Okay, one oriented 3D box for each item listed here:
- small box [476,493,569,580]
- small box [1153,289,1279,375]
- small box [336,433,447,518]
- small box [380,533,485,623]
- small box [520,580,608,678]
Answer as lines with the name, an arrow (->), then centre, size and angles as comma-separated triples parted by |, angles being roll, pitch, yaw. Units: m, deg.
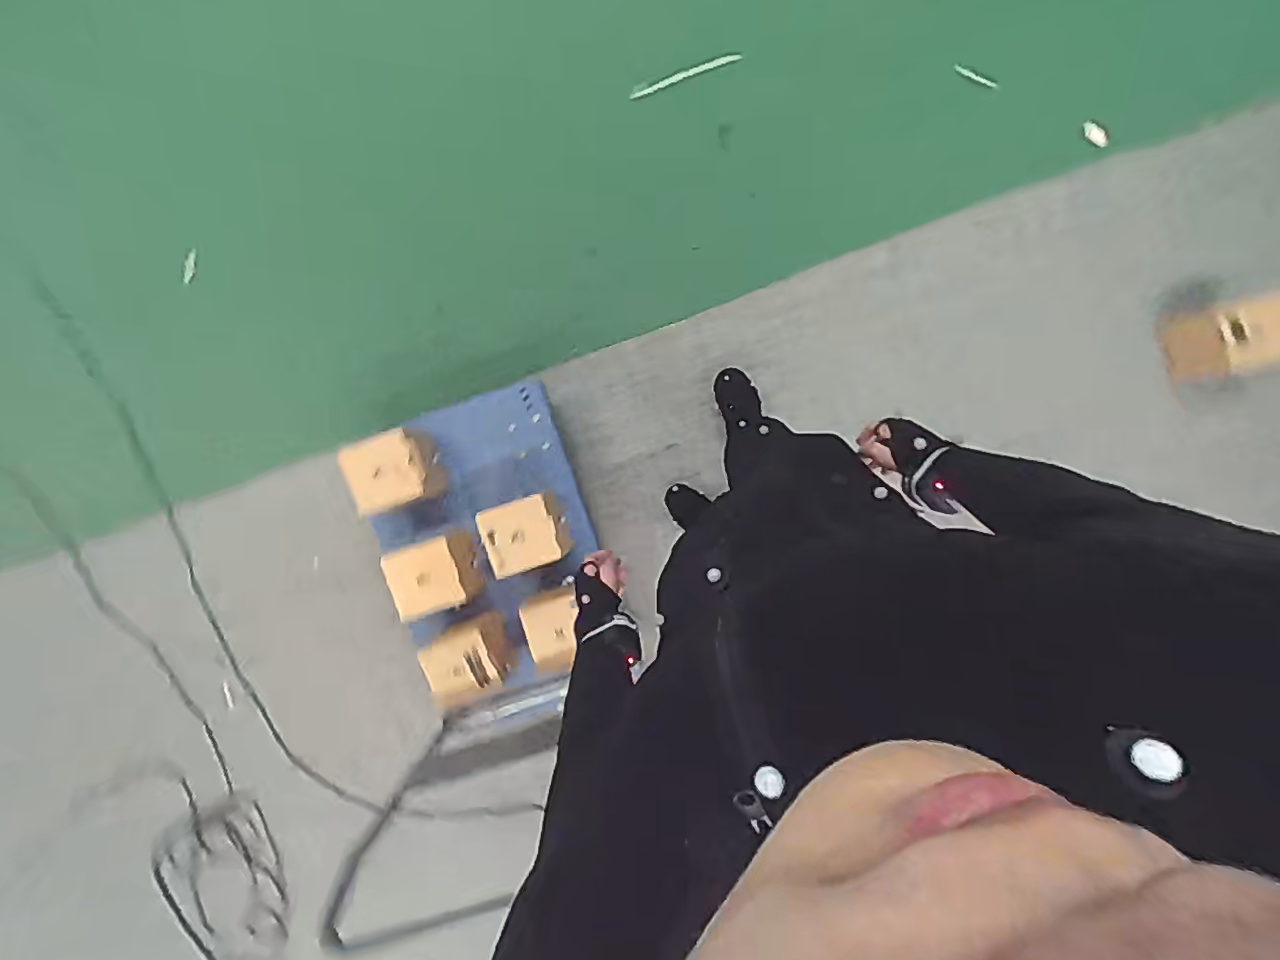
small box -> -0.291, 0.138, 1.387 | 0.179, 0.176, 0.168 | -19, 91, 3
small box -> 1.558, -0.395, 1.475 | 0.179, 0.176, 0.168 | -15, 93, 2
small box -> -0.632, -0.013, 1.394 | 0.179, 0.176, 0.168 | -21, 93, 3
small box -> -0.531, 0.248, 1.406 | 0.179, 0.176, 0.168 | -20, 91, 2
small box -> -0.188, 0.377, 1.395 | 0.168, 0.176, 0.179 | -17, 91, 3
